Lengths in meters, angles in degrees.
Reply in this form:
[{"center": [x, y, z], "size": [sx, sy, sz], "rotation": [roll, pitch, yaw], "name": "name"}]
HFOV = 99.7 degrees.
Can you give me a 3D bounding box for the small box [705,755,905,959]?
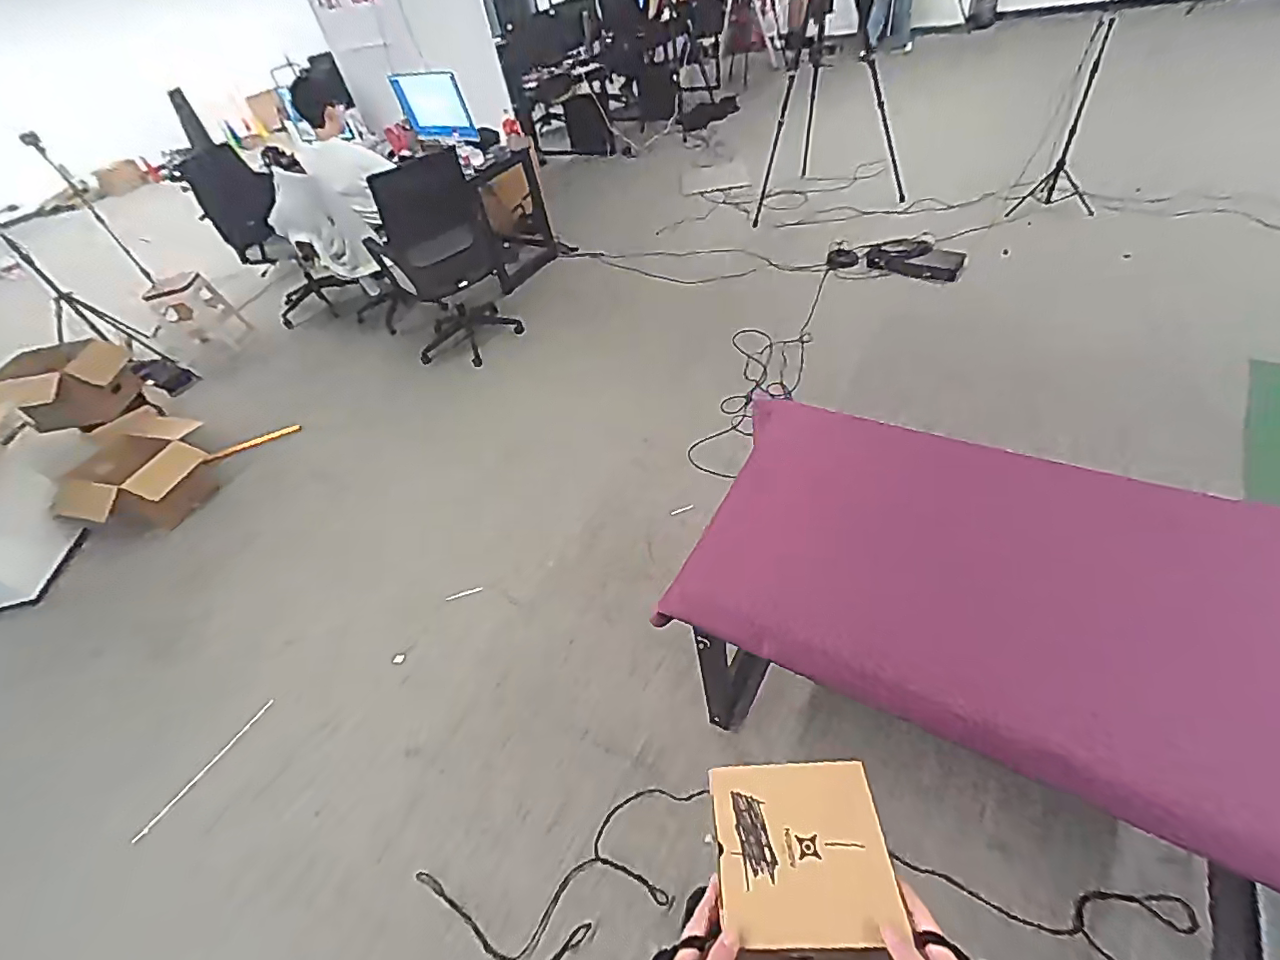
[{"center": [0.170, 0.433, 0.611], "size": [0.179, 0.176, 0.168], "rotation": [-4, 40, 5], "name": "small box"}]
